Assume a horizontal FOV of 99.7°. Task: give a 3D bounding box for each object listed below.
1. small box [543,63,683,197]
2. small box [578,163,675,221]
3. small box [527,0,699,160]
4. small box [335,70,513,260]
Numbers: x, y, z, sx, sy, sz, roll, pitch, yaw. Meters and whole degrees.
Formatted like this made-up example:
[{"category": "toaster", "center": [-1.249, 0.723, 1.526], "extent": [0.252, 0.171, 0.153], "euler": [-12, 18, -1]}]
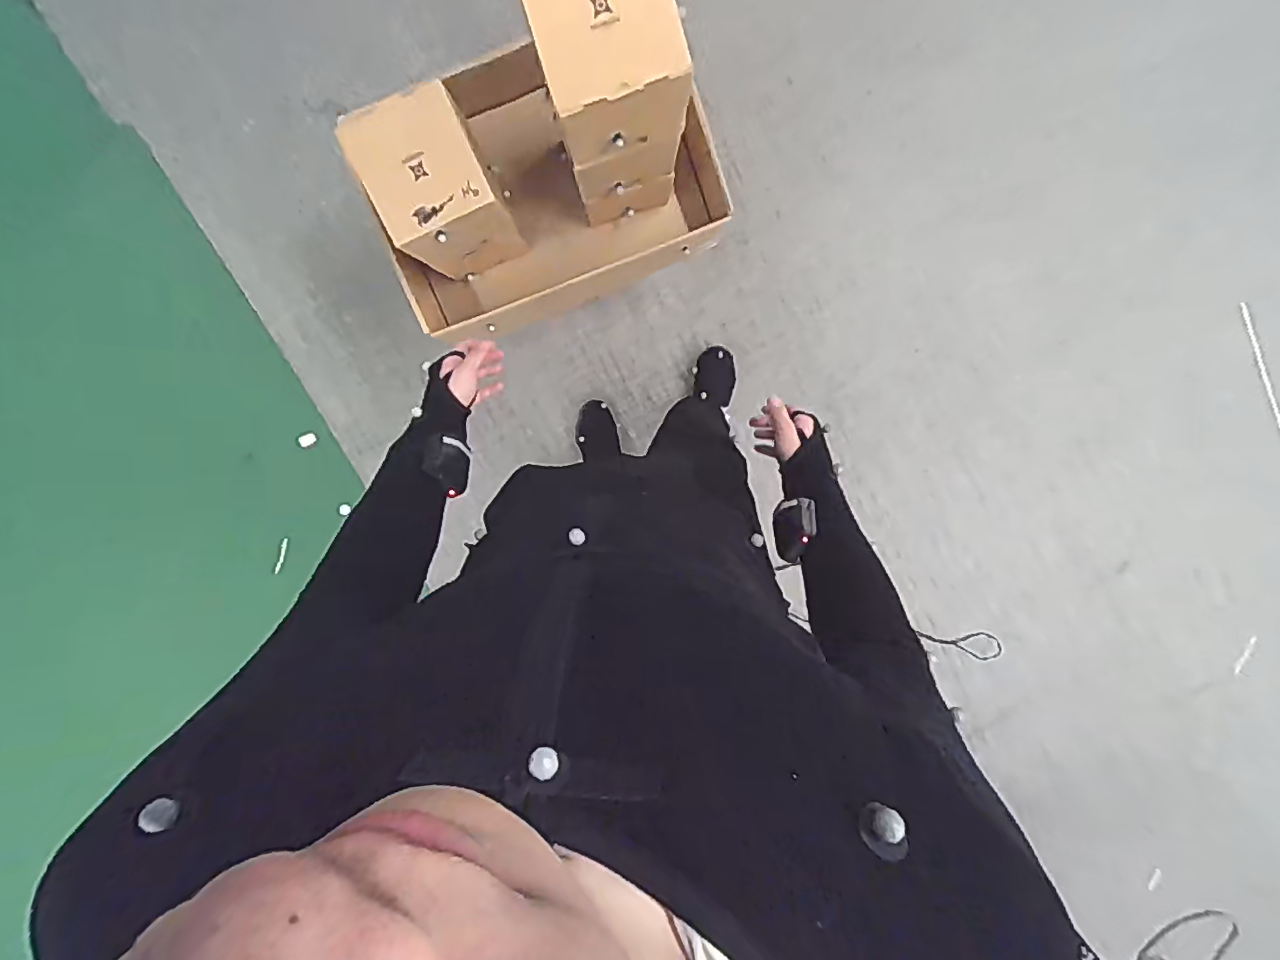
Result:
[{"category": "small box", "center": [-0.044, -0.568, 0.826], "extent": [0.168, 0.176, 0.179], "euler": [-17, 102, 2]}, {"category": "small box", "center": [-0.044, -0.603, 0.985], "extent": [0.168, 0.176, 0.179], "euler": [-16, 102, 2]}, {"category": "small box", "center": [-0.038, -0.537, 0.667], "extent": [0.168, 0.176, 0.179], "euler": [-17, 102, 3]}, {"category": "small box", "center": [-0.318, -0.469, 0.836], "extent": [0.168, 0.176, 0.179], "euler": [-23, 101, 4]}]
